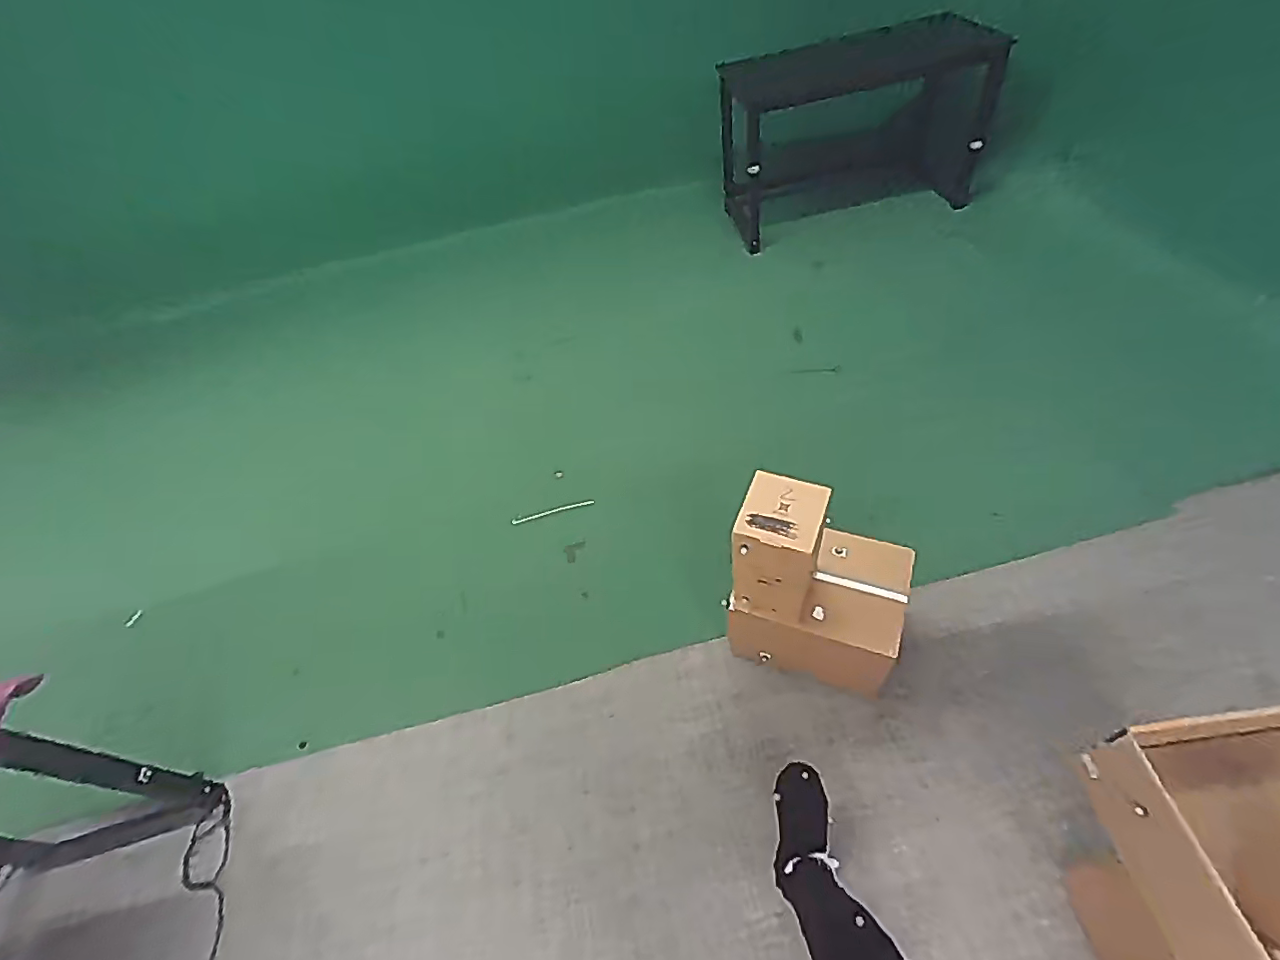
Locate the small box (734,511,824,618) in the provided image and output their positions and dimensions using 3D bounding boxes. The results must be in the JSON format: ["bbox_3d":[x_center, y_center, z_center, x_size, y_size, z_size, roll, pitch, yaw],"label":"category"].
[{"bbox_3d":[0.338,0.211,1.323,0.168,0.176,0.179,17,56,22],"label":"small box"}]
